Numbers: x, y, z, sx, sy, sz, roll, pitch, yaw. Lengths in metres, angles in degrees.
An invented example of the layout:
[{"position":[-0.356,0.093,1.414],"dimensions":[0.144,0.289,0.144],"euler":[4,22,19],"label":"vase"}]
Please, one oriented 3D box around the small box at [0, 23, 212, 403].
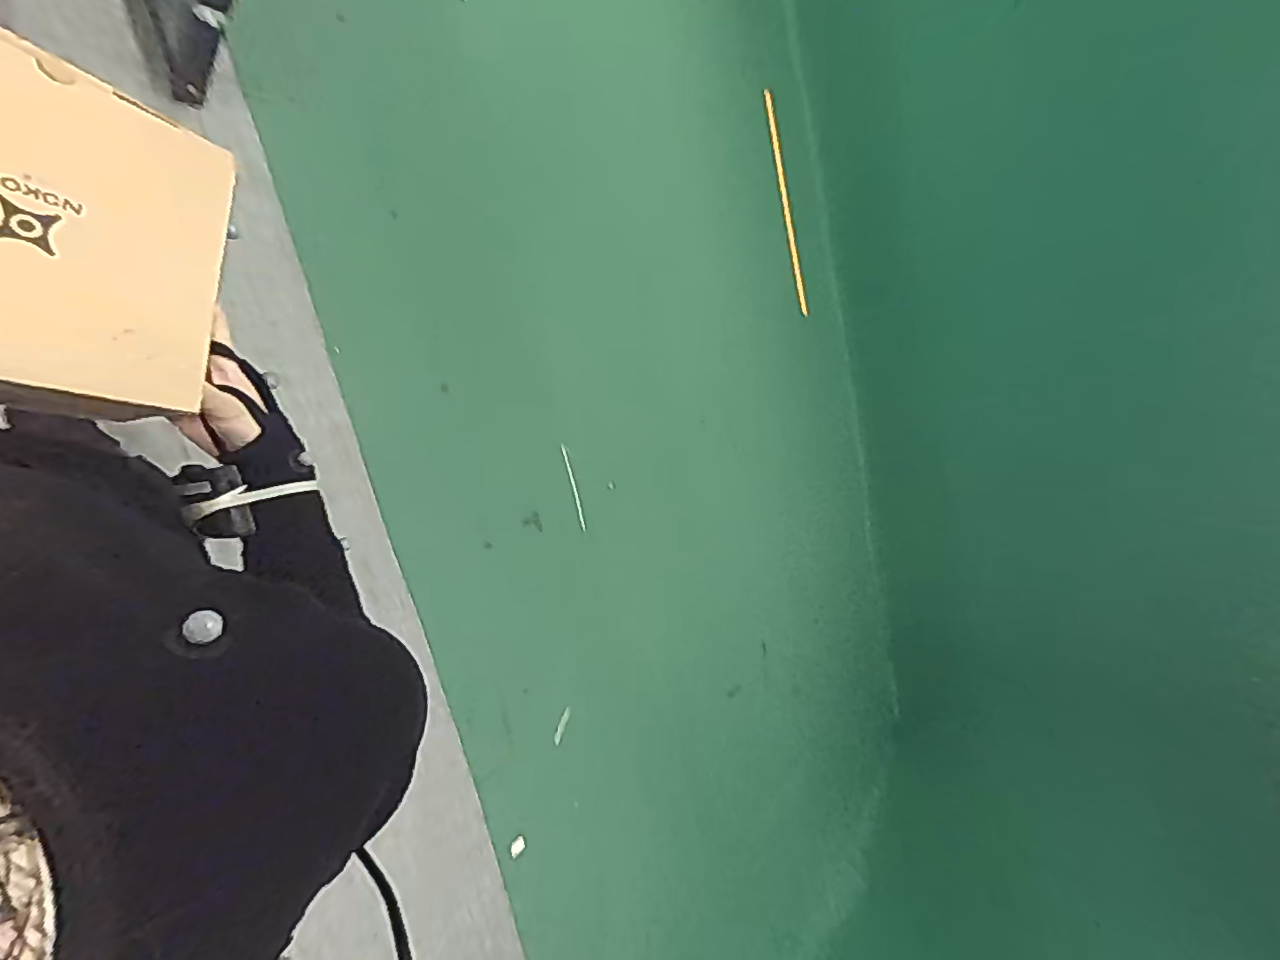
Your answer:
[{"position":[-0.393,-0.148,0.321],"dimensions":[0.168,0.176,0.179],"euler":[11,83,-55],"label":"small box"}]
